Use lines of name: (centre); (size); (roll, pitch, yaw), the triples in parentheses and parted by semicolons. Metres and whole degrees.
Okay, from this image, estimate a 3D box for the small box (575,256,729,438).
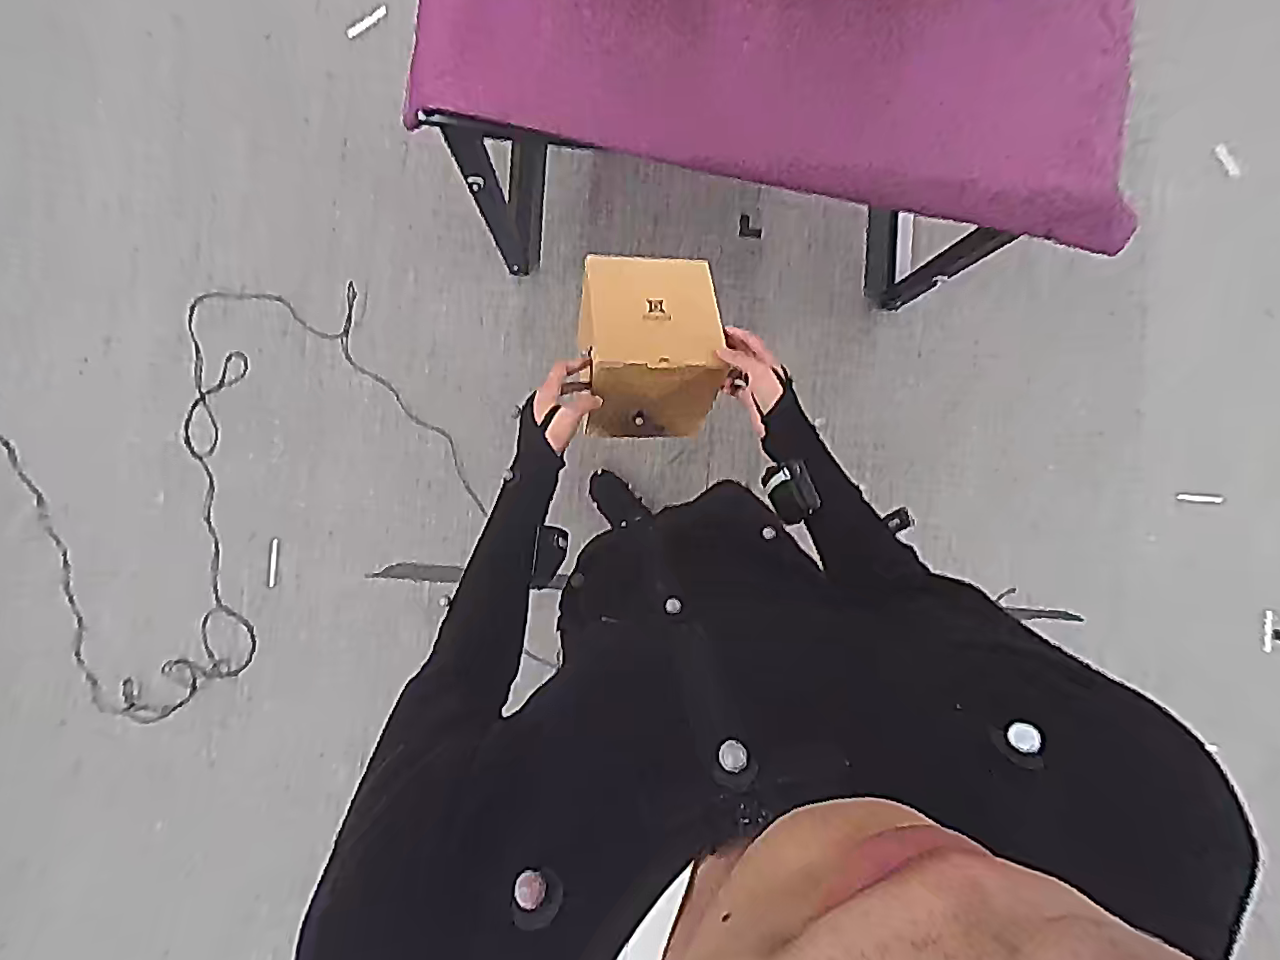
small box: (0.004, -0.174, 0.738); (0.168, 0.176, 0.179); (-2, 65, -12)
